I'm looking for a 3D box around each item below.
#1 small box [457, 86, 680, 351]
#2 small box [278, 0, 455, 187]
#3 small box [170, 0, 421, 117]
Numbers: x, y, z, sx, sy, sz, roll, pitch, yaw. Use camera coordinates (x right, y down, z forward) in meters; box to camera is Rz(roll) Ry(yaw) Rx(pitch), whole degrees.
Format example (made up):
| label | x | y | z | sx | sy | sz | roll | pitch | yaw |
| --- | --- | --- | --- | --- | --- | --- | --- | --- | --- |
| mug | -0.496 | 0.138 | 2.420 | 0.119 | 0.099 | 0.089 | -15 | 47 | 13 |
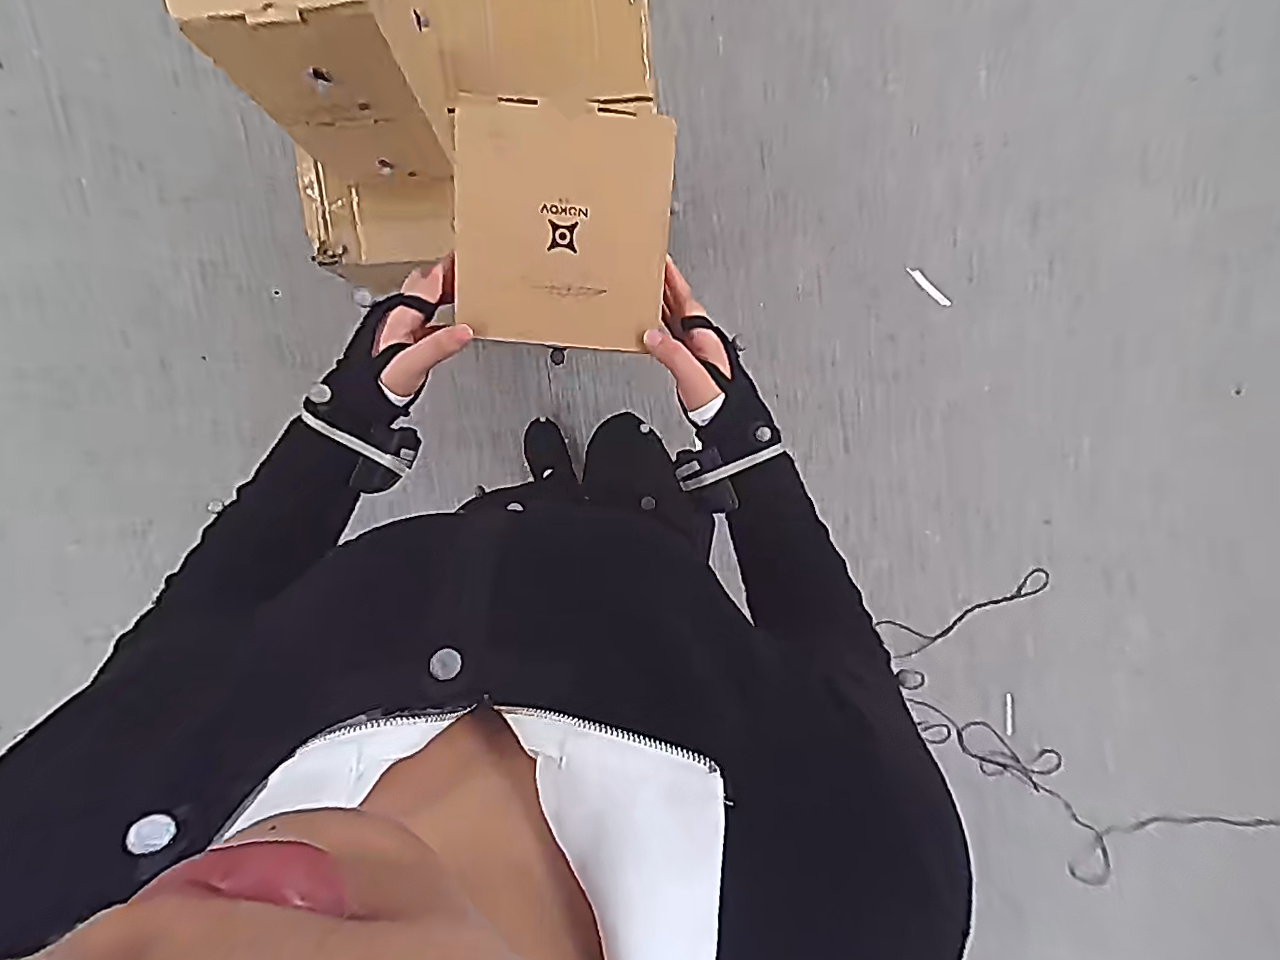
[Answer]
| label | x | y | z | sx | sy | sz | roll | pitch | yaw |
| --- | --- | --- | --- | --- | --- | --- | --- | --- | --- |
| small box | -0.063 | -0.217 | 0.498 | 0.168 | 0.176 | 0.179 | 4 | 103 | -4 |
| small box | -0.350 | -0.508 | 0.697 | 0.168 | 0.176 | 0.179 | -8 | 98 | -5 |
| small box | -0.335 | -0.491 | 0.534 | 0.168 | 0.176 | 0.179 | -9 | 98 | -5 |
